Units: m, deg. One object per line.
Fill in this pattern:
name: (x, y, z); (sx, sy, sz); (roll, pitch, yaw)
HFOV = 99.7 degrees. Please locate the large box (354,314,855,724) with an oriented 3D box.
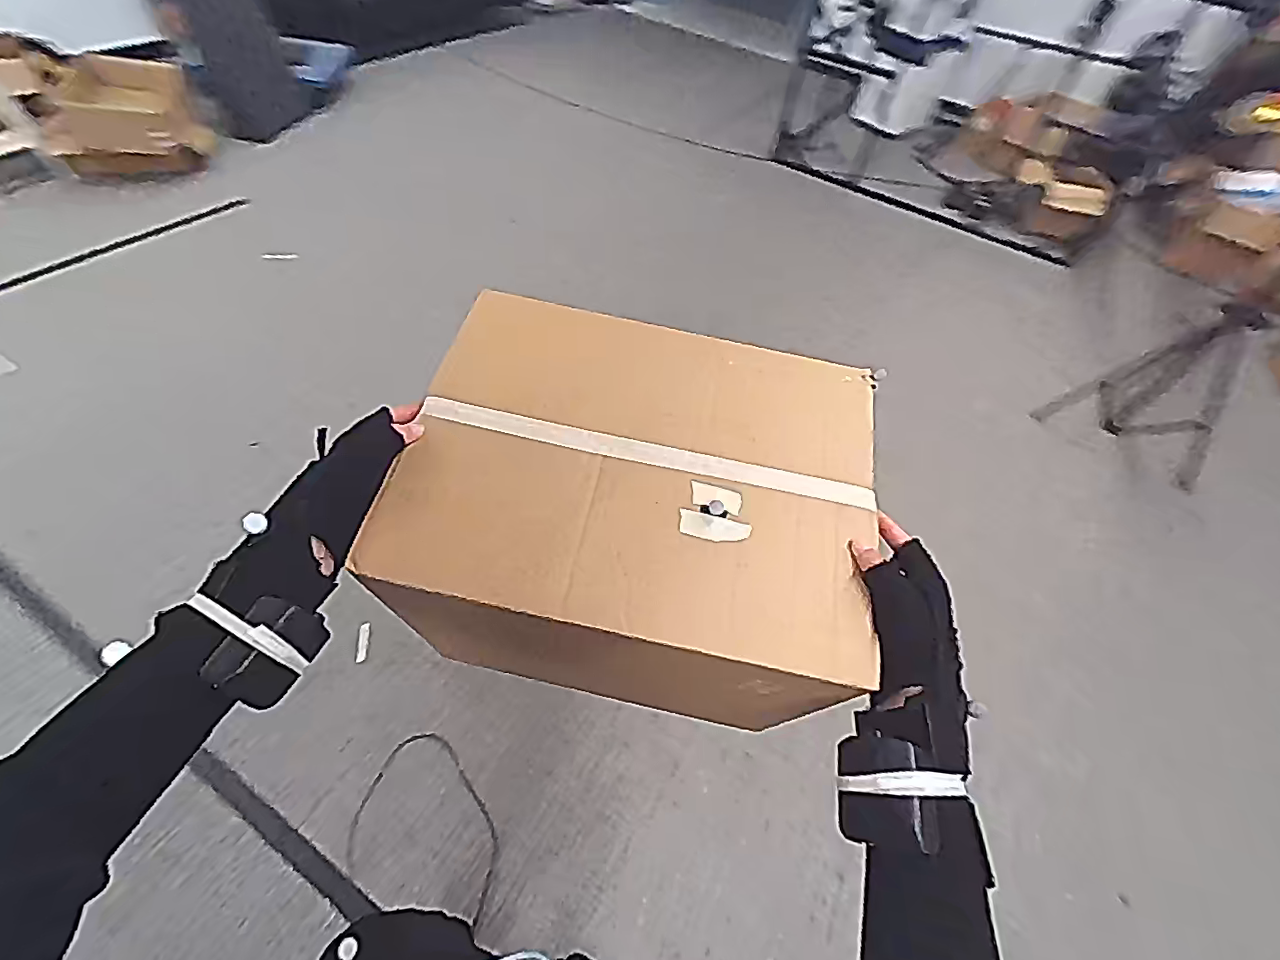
large box: (-0.020, 0.064, 0.618); (0.408, 0.320, 0.320); (12, 60, 0)
